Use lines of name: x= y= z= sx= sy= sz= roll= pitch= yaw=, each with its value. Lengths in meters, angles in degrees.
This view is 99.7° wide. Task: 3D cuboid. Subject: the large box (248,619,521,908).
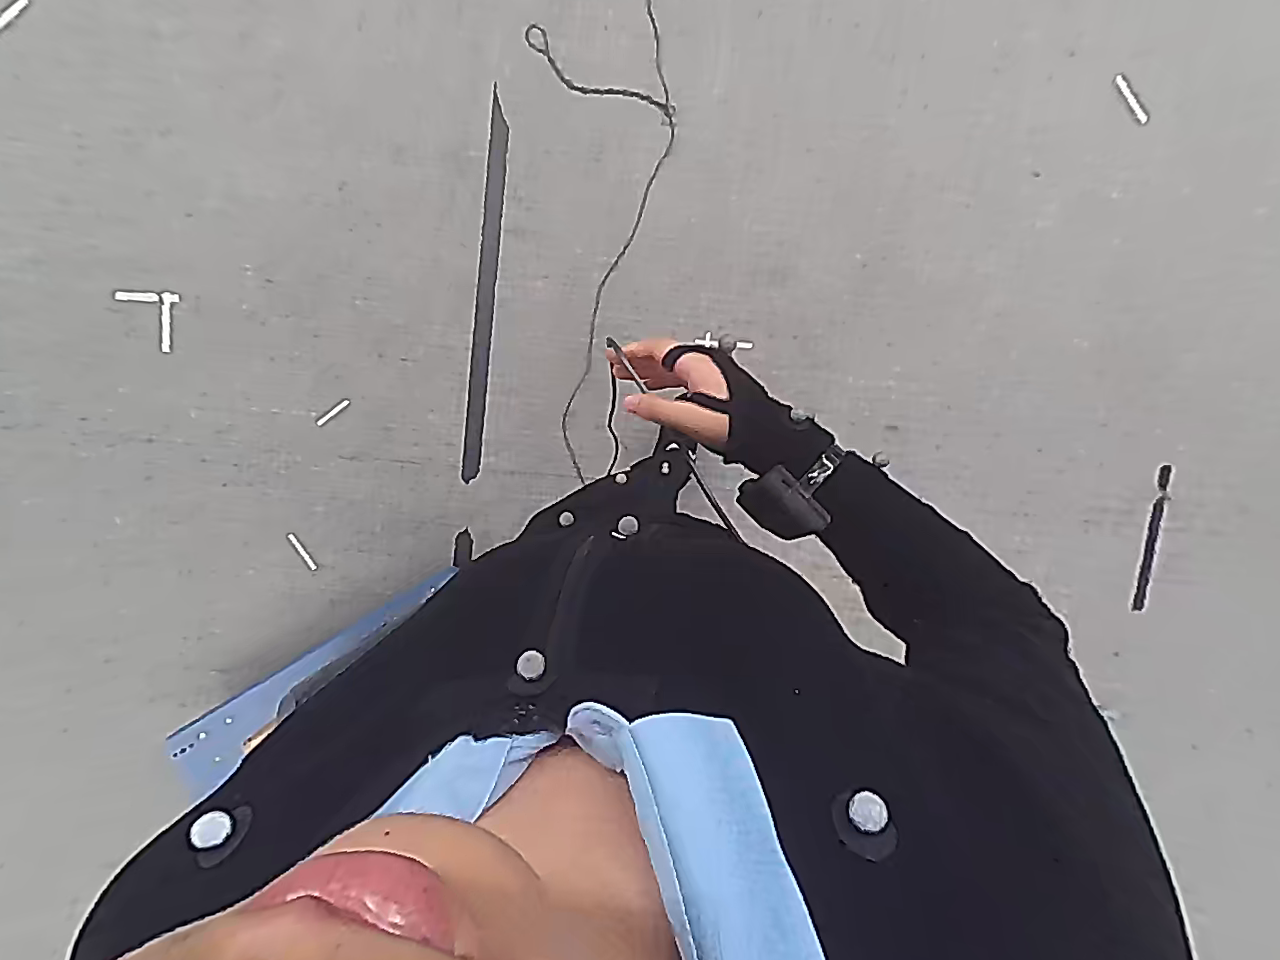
large box: x=-0.523 y=0.588 z=1.190 sx=0.320 sy=0.320 sz=0.408 roll=-31 pitch=92 yaw=2
